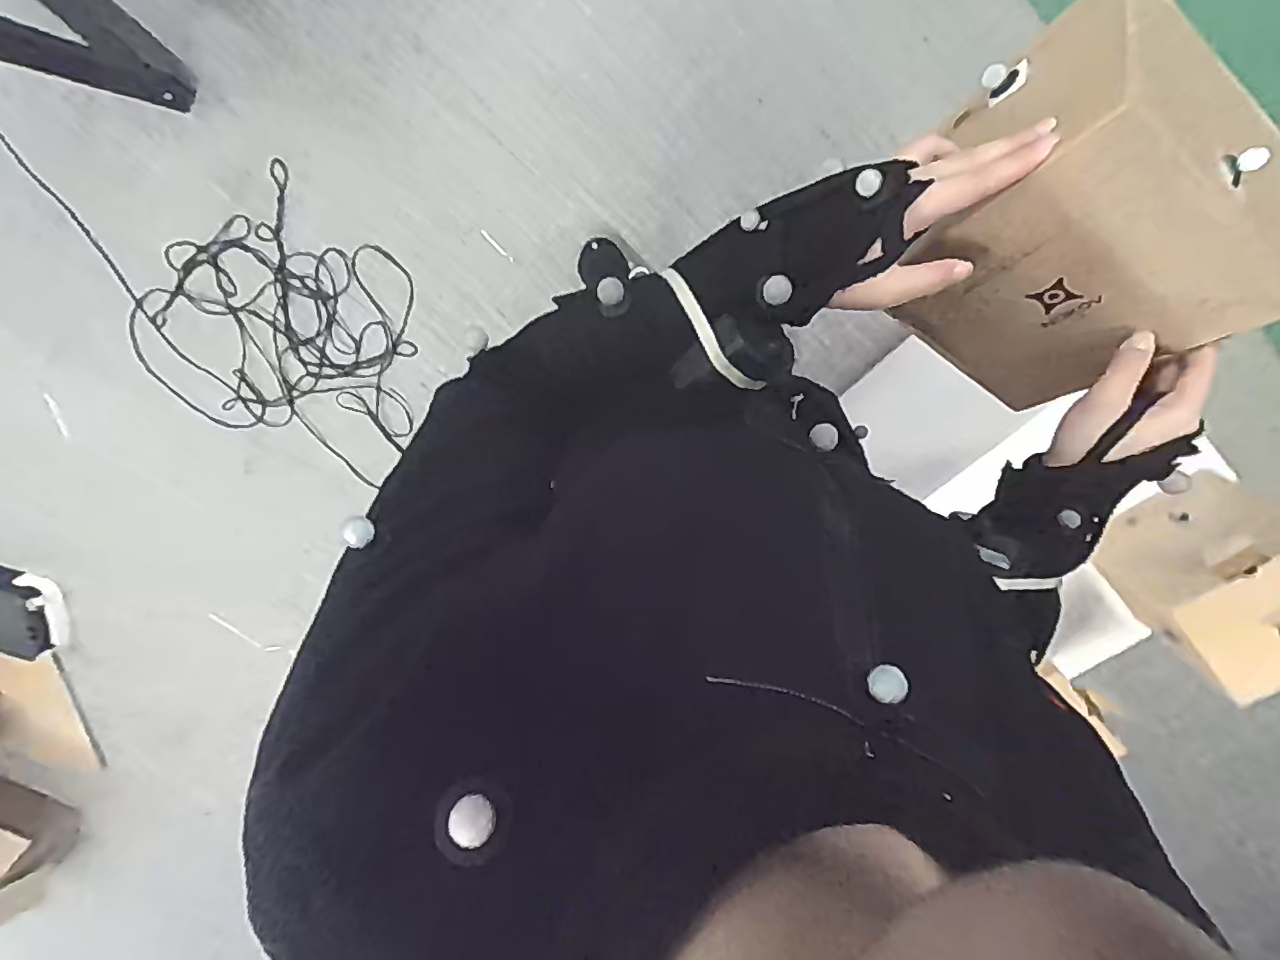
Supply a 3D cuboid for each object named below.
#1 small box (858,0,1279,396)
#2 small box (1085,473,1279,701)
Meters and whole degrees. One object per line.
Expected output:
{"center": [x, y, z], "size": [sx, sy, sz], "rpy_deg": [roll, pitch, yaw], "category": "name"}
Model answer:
{"center": [0.290, -0.195, 0.376], "size": [0.179, 0.176, 0.168], "rpy_deg": [29, 155, -14], "category": "small box"}
{"center": [0.711, 0.121, 0.659], "size": [0.168, 0.176, 0.179], "rpy_deg": [-41, 102, 20], "category": "small box"}
